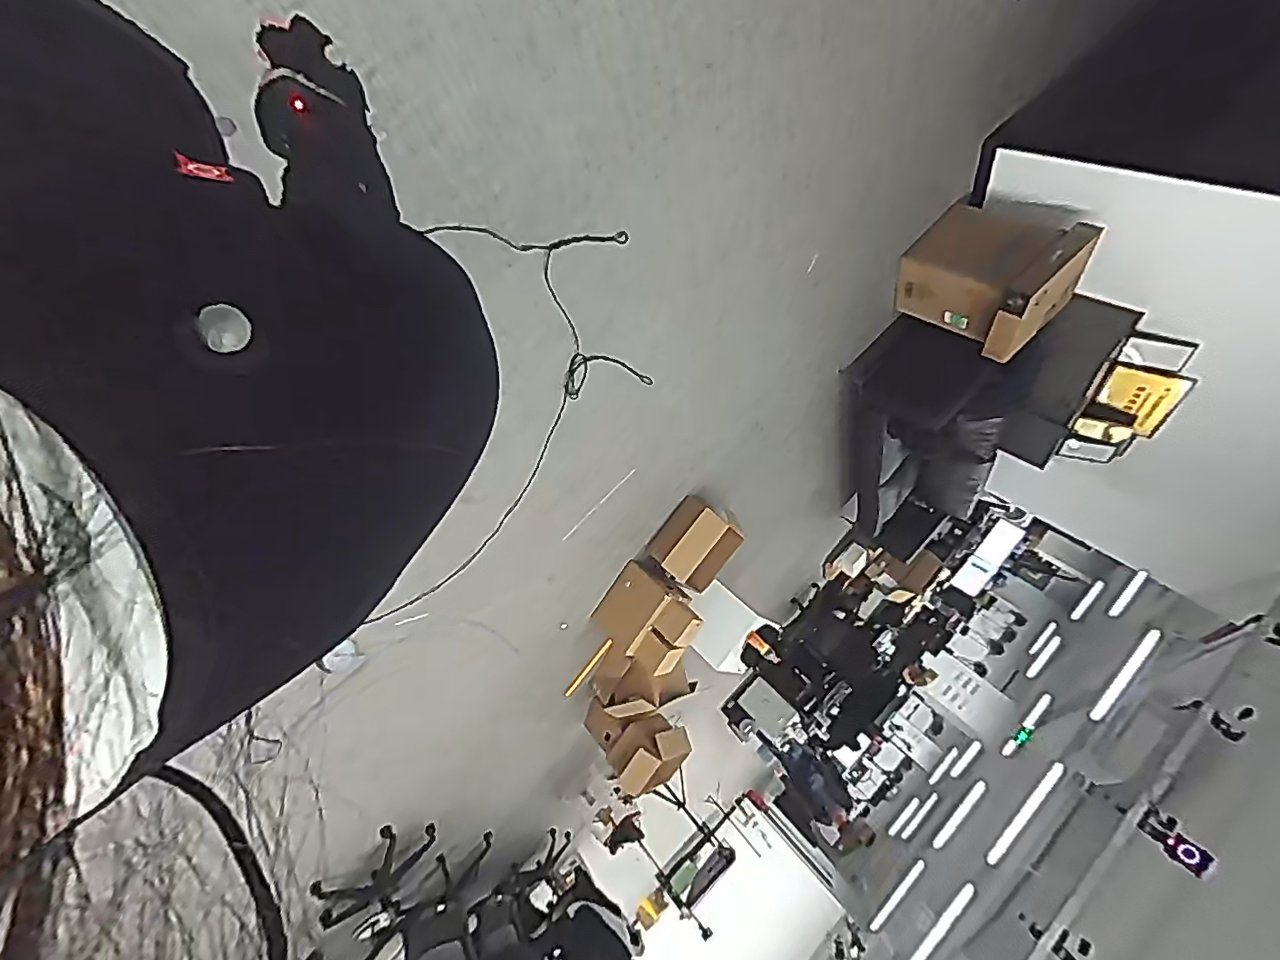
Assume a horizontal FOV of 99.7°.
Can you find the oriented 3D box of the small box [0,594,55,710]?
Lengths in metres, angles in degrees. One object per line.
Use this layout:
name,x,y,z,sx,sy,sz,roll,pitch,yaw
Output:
small box,-1.273,0.332,1.019,0.179,0.176,0.168,-44,147,-10
